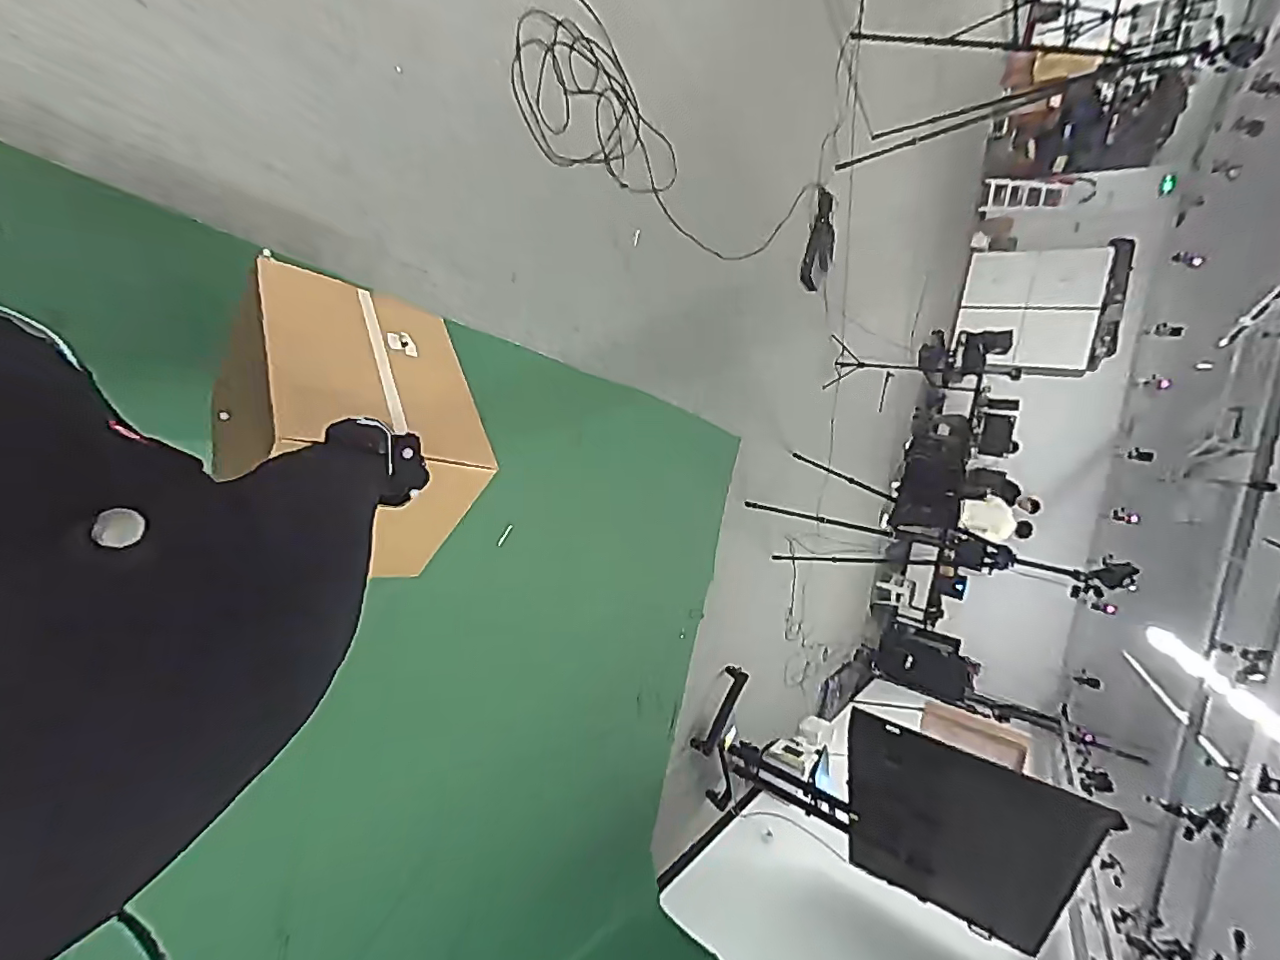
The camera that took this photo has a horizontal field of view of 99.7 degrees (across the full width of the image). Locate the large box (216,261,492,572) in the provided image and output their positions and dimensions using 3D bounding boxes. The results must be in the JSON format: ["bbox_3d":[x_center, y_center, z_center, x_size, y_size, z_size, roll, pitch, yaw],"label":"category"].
[{"bbox_3d":[-0.516,-0.092,0.945,0.320,0.408,0.320,9,132,-47],"label":"large box"}]
